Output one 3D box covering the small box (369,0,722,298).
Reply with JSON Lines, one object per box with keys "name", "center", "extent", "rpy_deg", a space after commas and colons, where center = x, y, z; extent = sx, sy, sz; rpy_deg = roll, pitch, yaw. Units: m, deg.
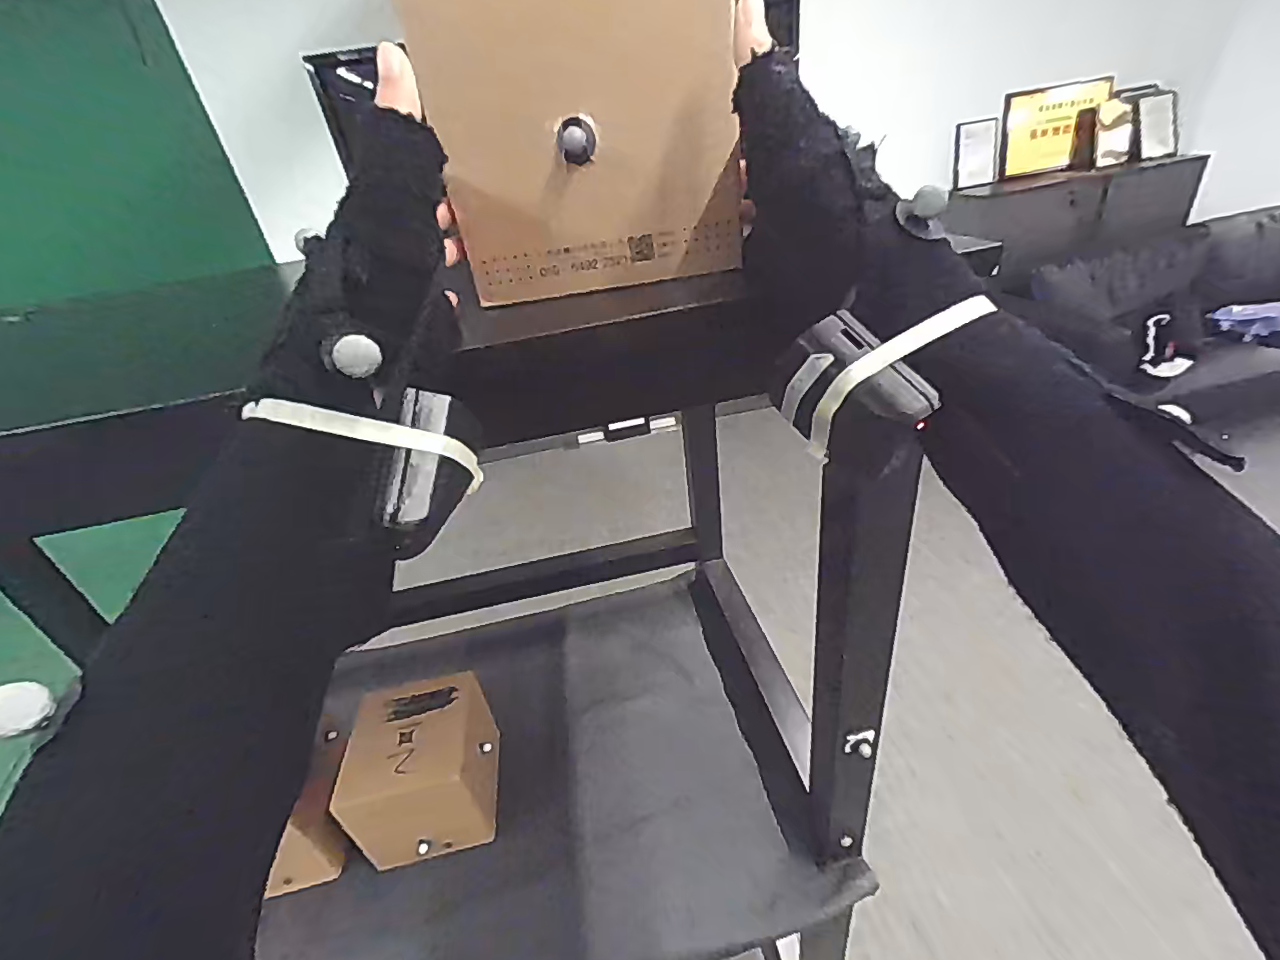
{"name": "small box", "center": [-0.040, -0.228, 0.362], "extent": [0.168, 0.176, 0.179], "rpy_deg": [-7, 31, 4]}
